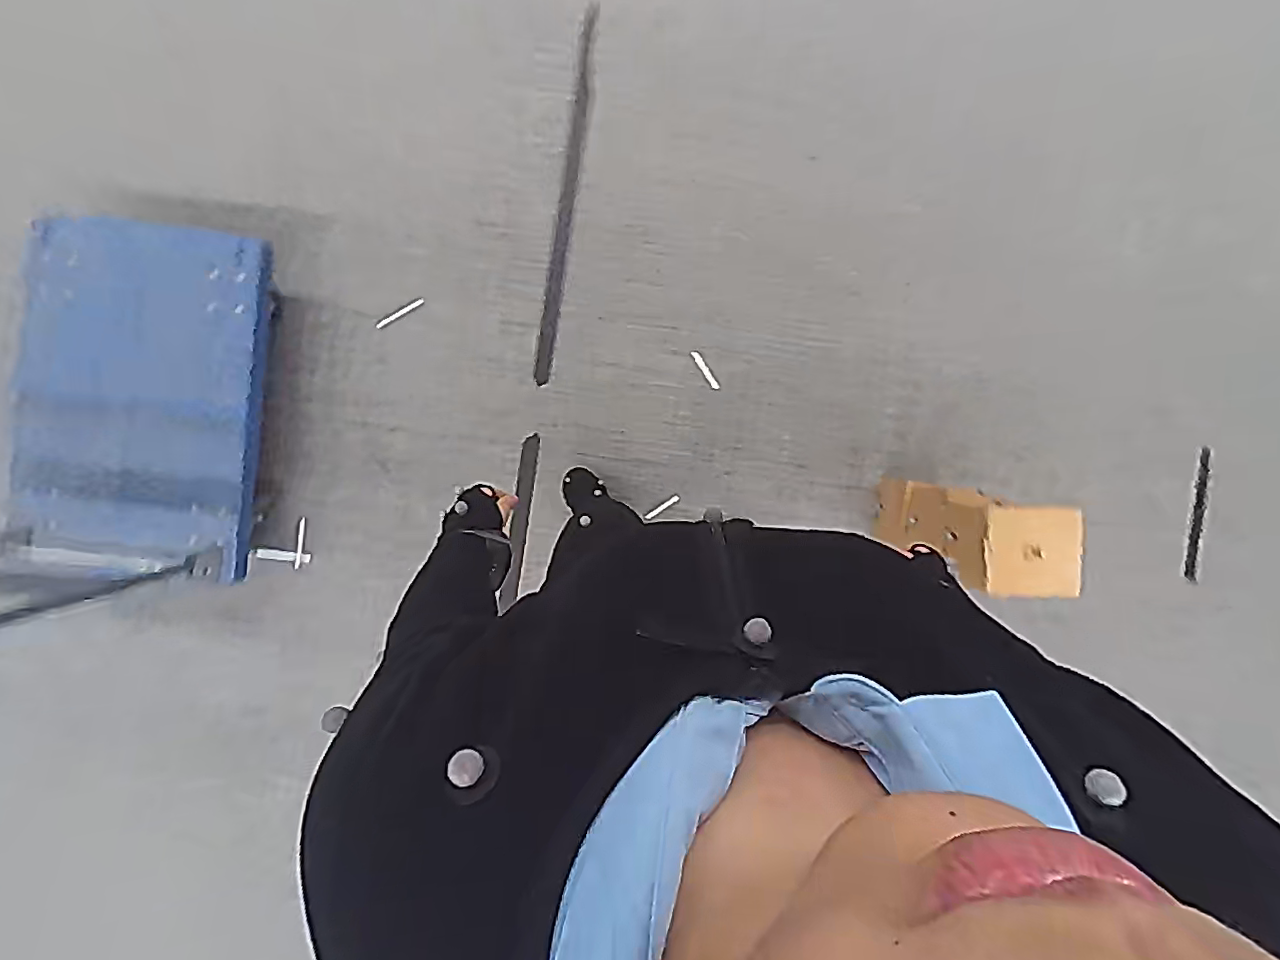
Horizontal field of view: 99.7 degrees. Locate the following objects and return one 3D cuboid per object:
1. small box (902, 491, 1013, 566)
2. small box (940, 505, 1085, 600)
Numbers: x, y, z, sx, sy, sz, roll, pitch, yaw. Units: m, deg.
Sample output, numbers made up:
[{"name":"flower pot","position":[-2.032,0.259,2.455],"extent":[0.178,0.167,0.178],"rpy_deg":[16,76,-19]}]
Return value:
[{"name":"small box","position":[0.739,0.121,1.242],"extent":[0.179,0.176,0.168],"rpy_deg":[12,91,1]},{"name":"small box","position":[0.735,0.137,1.079],"extent":[0.179,0.176,0.168],"rpy_deg":[1,91,2]}]
